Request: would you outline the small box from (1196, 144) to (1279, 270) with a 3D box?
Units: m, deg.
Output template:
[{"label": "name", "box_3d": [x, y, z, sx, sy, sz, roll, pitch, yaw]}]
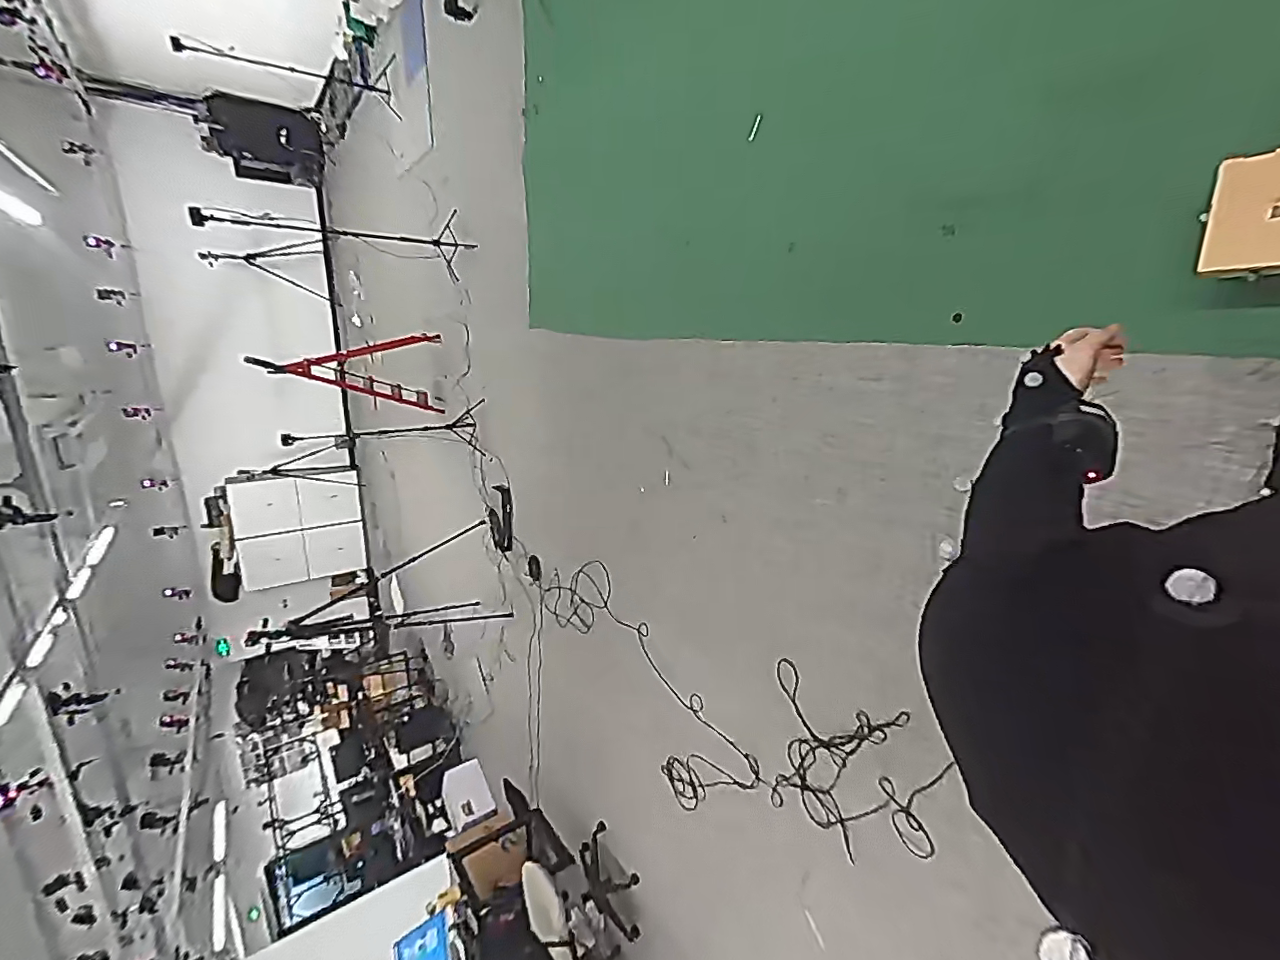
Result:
[{"label": "small box", "box_3d": [1.070, -0.448, 0.893, 0.168, 0.176, 0.179, 17, 112, 52]}]
